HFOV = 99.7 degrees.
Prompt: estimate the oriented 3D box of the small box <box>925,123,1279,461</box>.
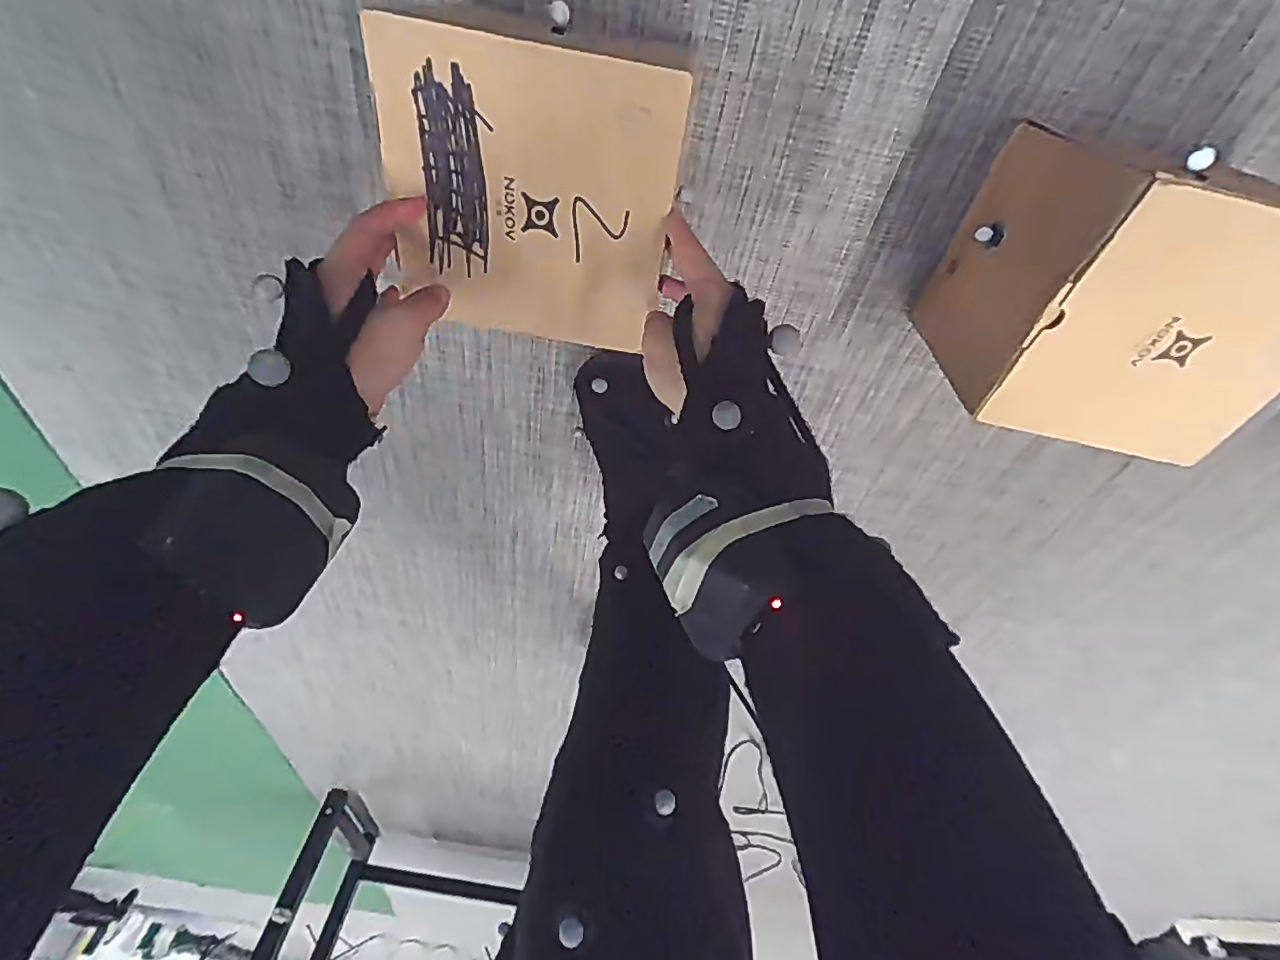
[{"bbox_3d":[0.354,-0.143,0.402,0.179,0.176,0.168,12,133,-2],"label":"small box"}]
